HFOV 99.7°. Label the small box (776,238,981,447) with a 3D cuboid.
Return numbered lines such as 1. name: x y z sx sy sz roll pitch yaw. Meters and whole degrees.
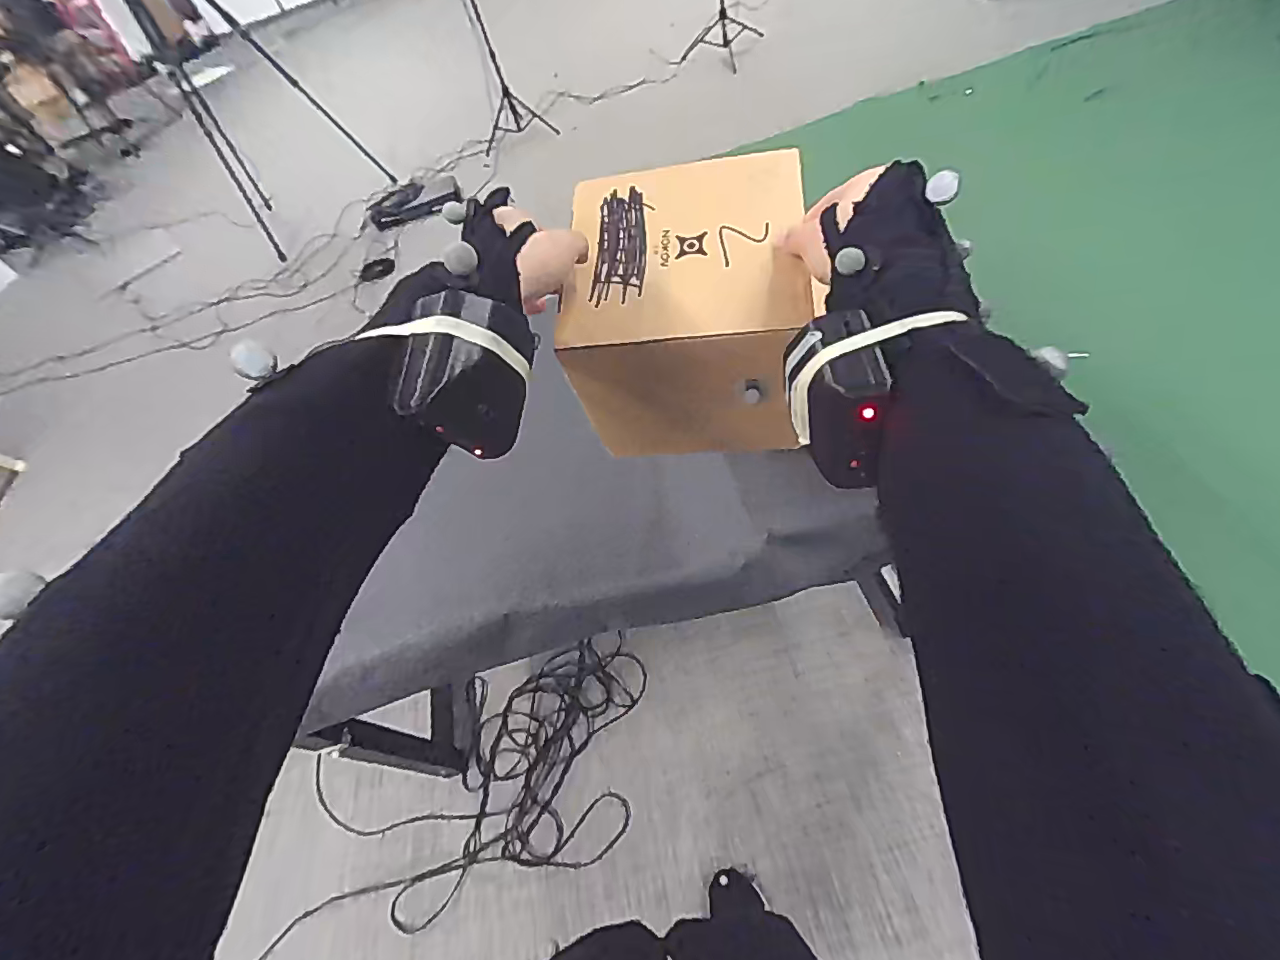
1. small box: 0.278 -0.163 0.677 0.179 0.176 0.168 -13 55 5
